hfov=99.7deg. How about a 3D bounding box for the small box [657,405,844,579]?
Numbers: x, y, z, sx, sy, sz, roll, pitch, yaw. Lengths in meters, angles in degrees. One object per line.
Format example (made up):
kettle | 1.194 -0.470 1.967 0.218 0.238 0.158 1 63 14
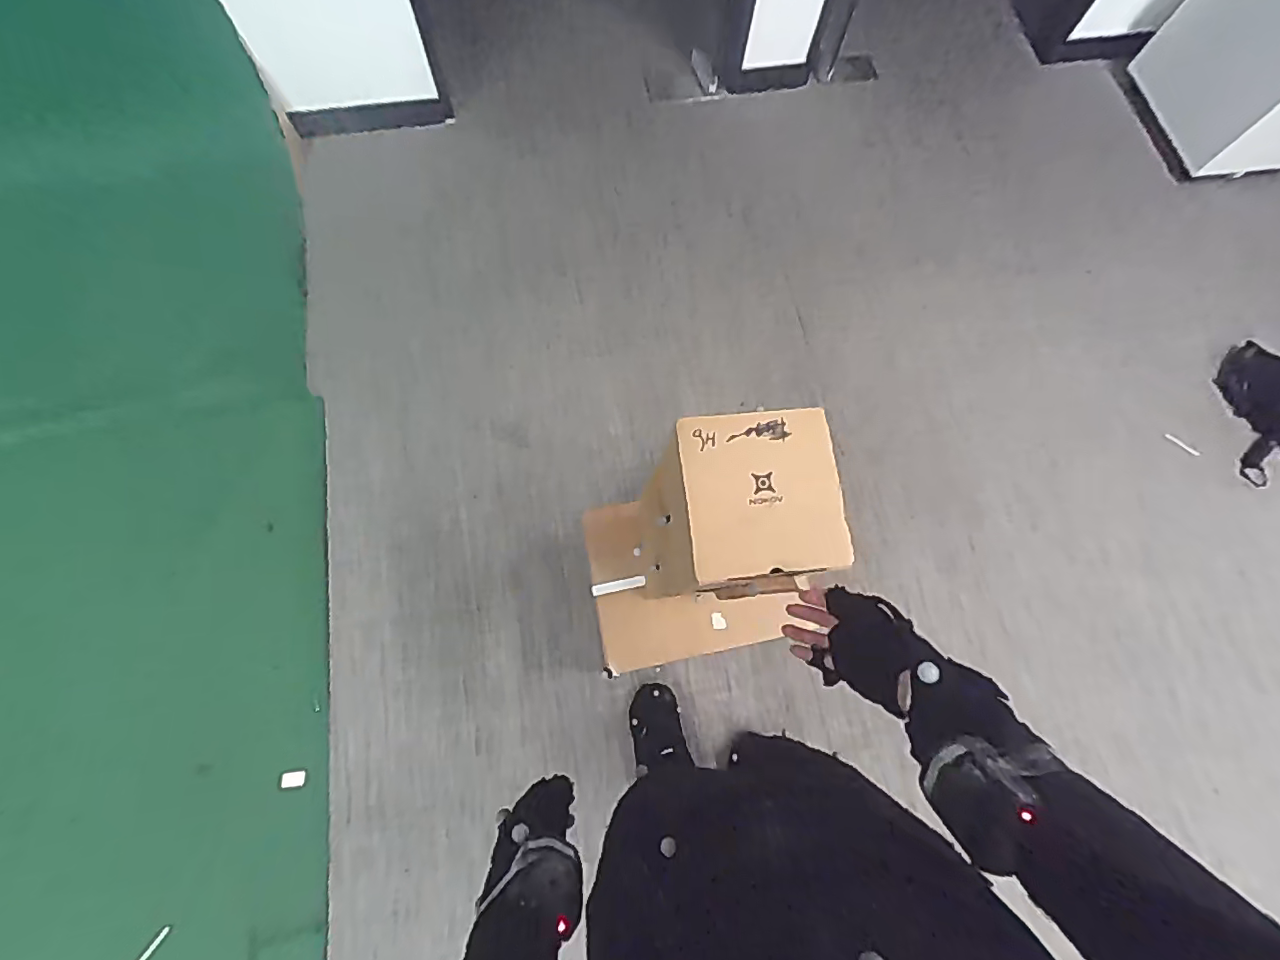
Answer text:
small box | 0.117 0.024 0.643 0.168 0.176 0.179 -5 78 -6

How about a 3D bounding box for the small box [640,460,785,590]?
small box | 0.097 0.066 0.800 0.168 0.176 0.179 -7 77 -7

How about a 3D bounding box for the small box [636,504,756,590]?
small box | 0.091 0.105 0.954 0.179 0.176 0.168 -3 76 -5
